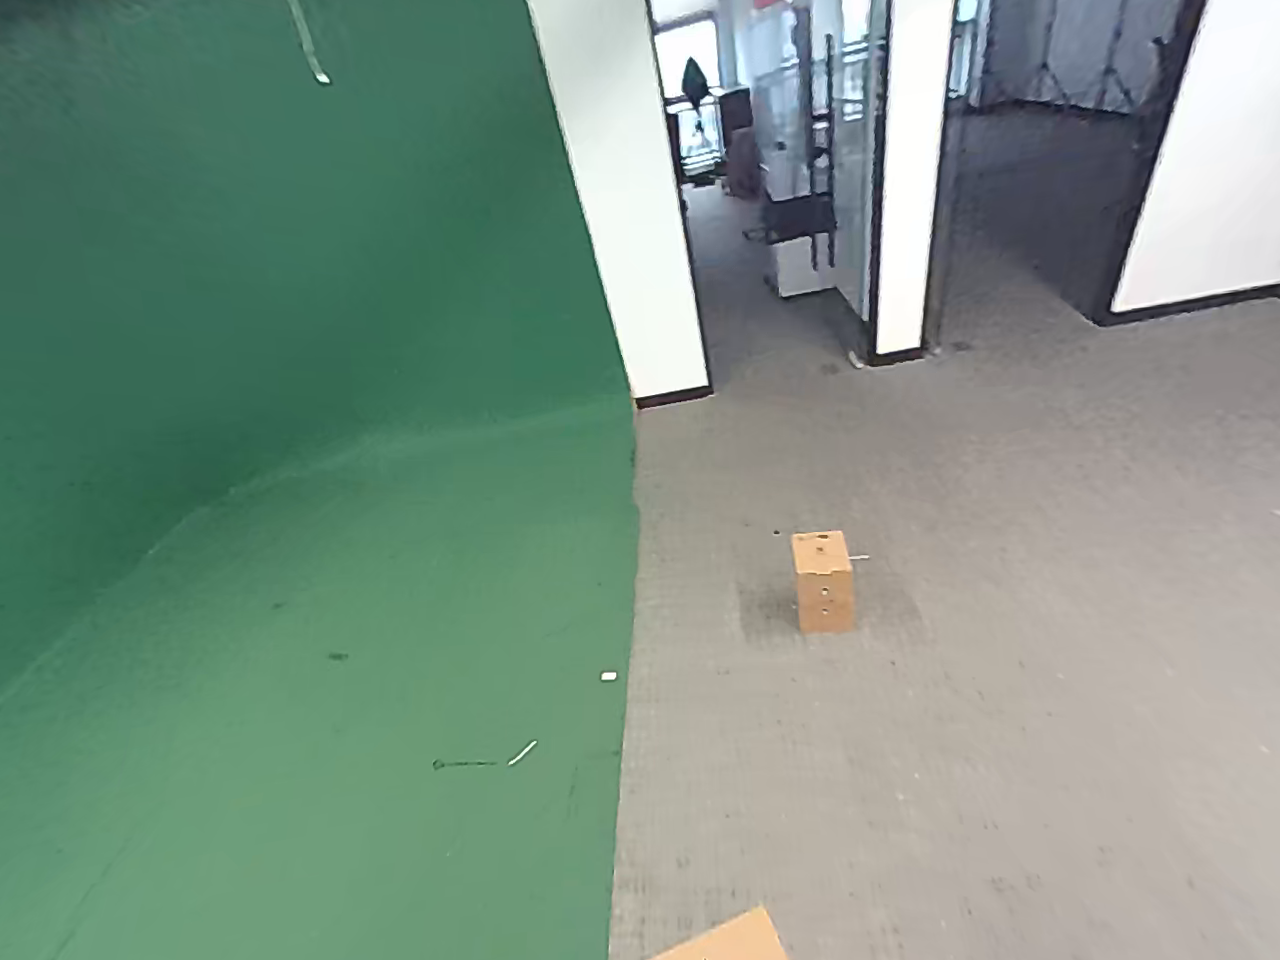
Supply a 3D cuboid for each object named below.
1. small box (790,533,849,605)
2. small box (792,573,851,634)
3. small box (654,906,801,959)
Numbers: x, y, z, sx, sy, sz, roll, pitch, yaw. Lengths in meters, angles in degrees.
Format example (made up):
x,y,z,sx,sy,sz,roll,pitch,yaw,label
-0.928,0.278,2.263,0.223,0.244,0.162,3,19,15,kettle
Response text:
x,y,z,sx,sy,sz,roll,pitch,yaw,label
0.593,0.300,1.789,0.168,0.176,0.179,-6,39,13,small box
0.635,0.423,1.889,0.179,0.176,0.168,-5,39,14,small box
0.117,0.603,0.560,0.168,0.176,0.179,-19,31,-8,small box
